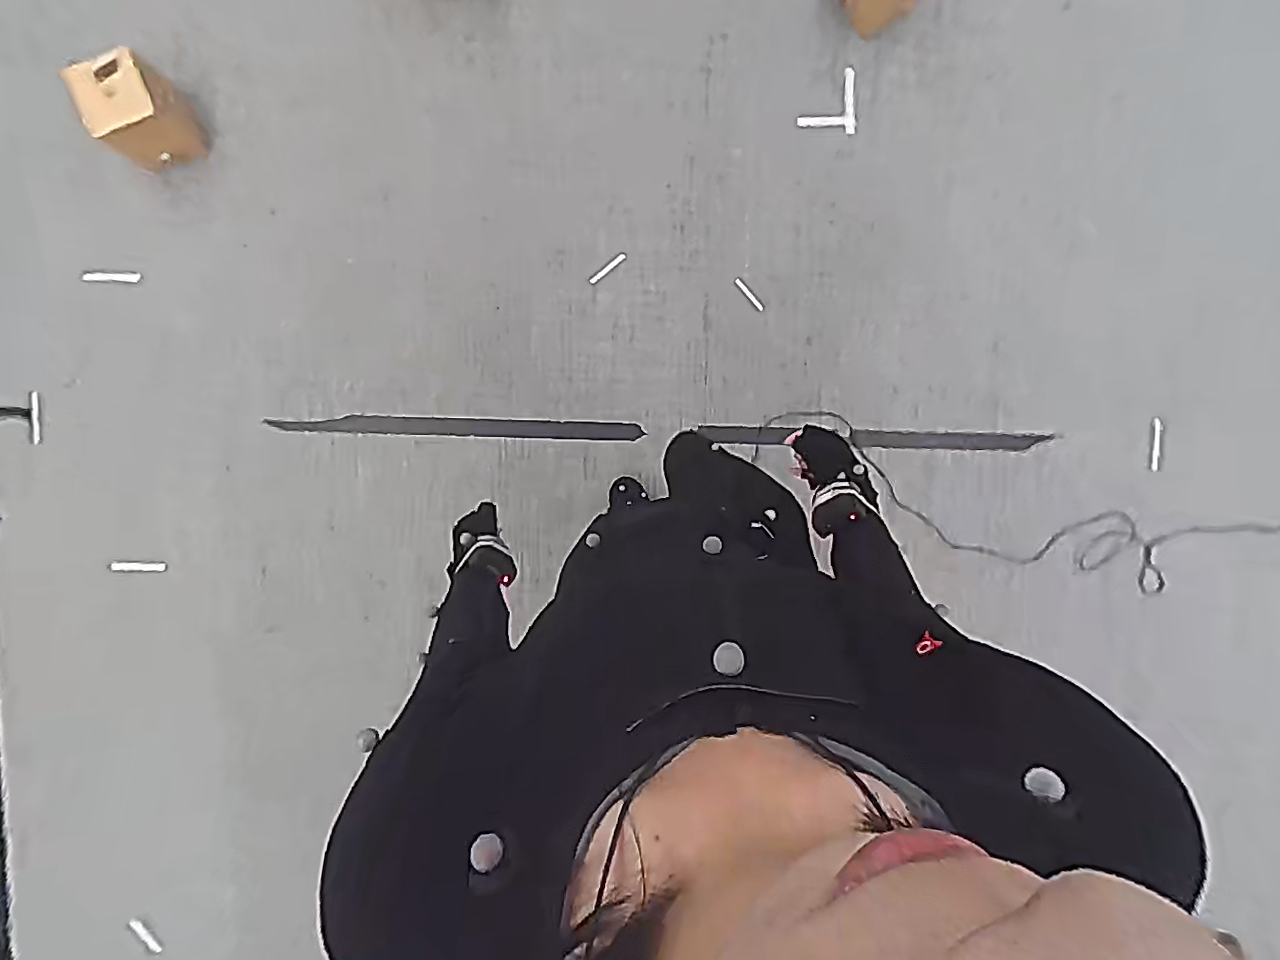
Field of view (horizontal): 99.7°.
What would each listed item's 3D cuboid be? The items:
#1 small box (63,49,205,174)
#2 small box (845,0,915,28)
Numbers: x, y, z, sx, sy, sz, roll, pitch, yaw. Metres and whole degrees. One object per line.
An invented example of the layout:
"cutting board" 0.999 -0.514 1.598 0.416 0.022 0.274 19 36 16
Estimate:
"small box" -1.275 -0.927 1.376 0.168 0.176 0.179 -22 94 1
"small box" 0.627 -1.306 1.371 0.168 0.176 0.179 -28 93 1
